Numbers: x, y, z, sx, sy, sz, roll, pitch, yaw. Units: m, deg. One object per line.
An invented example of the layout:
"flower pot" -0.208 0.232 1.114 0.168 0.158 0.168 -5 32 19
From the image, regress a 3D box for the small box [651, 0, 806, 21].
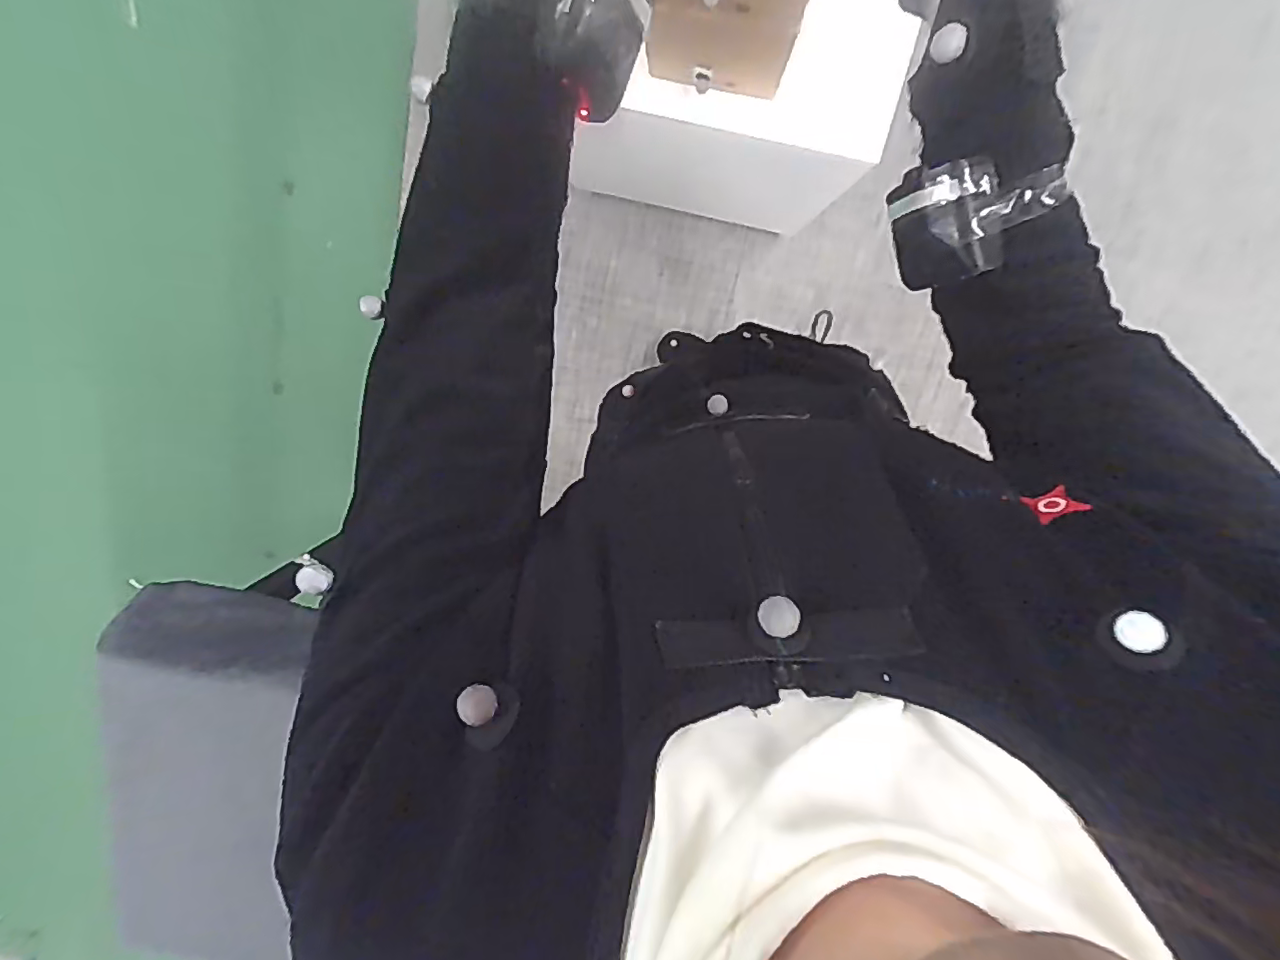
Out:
"small box" 0.082 -0.519 0.425 0.168 0.176 0.179 10 104 3

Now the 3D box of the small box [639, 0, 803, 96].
"small box" 0.098 -0.559 0.584 0.168 0.176 0.179 12 107 3
